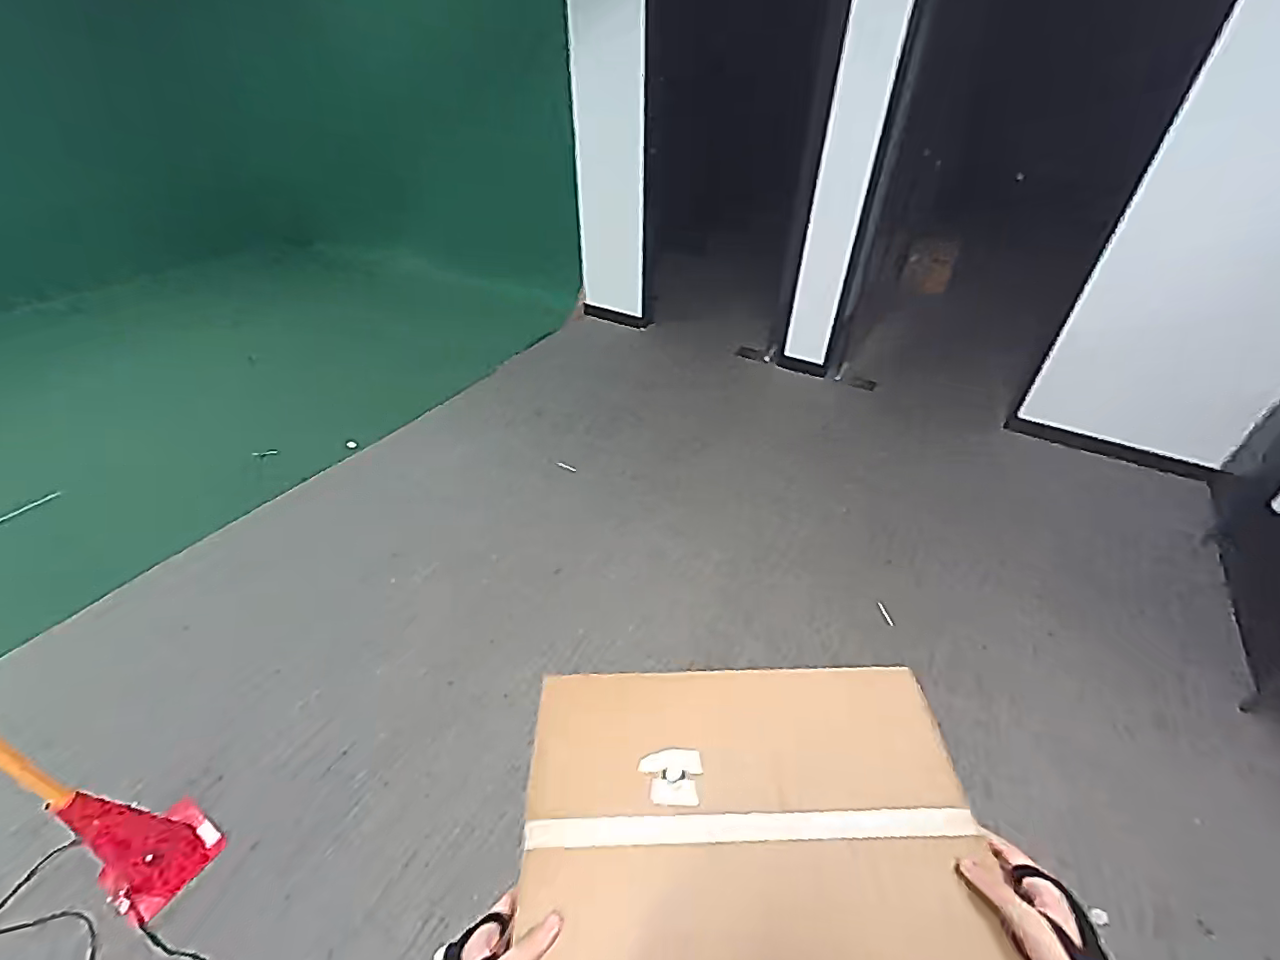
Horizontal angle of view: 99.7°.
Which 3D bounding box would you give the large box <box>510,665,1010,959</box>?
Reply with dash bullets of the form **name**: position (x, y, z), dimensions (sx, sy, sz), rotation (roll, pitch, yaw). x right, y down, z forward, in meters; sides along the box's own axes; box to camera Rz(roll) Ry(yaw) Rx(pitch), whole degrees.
- **large box**: position (0.096, 0.433, 0.595), dimensions (0.408, 0.320, 0.320), rotation (-3, 40, 0)
